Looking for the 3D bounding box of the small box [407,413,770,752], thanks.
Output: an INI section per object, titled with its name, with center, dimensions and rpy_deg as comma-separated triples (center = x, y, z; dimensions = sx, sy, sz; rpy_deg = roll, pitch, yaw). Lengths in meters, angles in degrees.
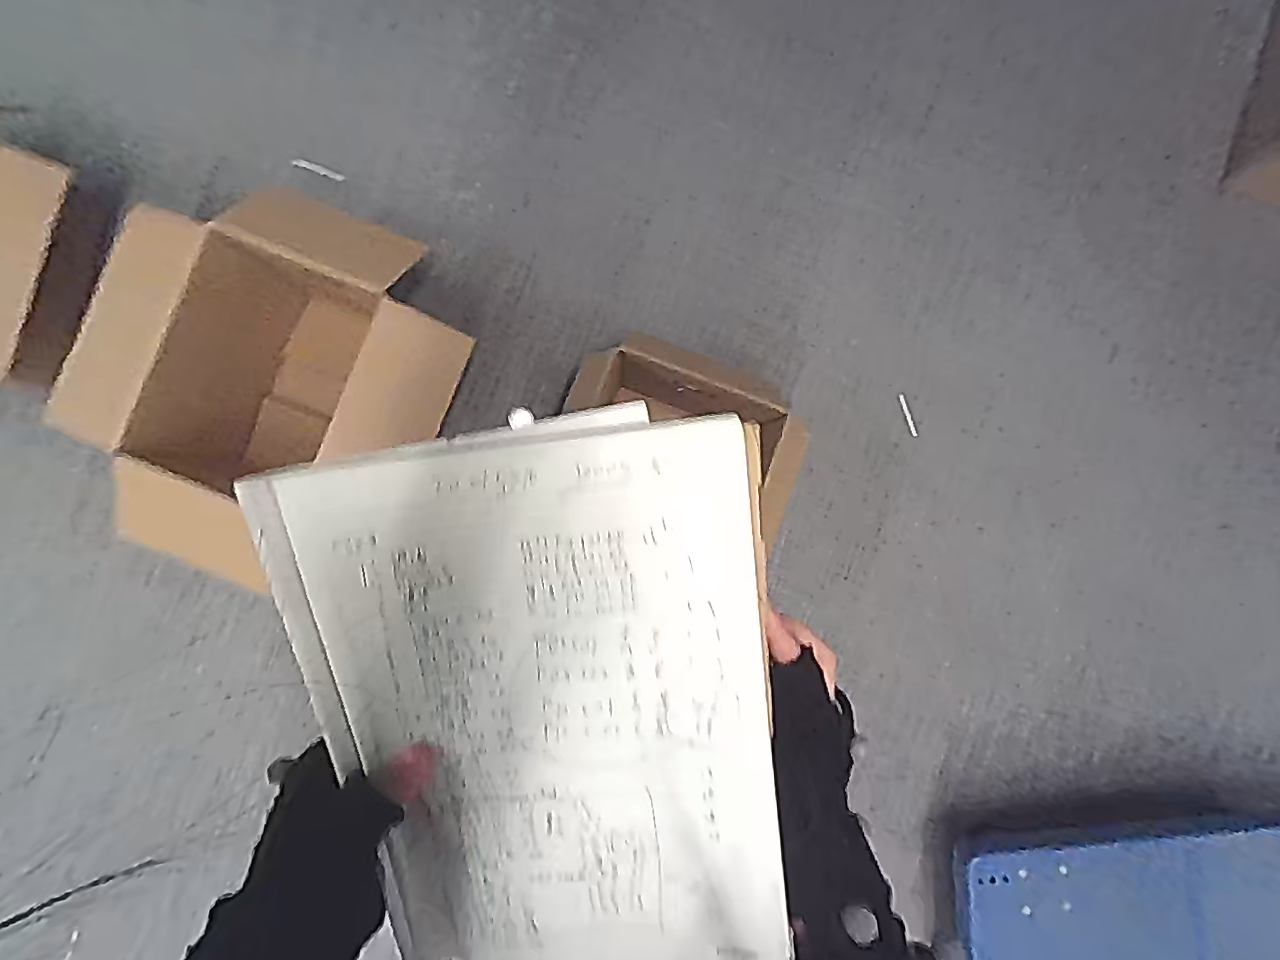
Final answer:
[small box]
center = -0.024, 0.047, 0.345
dimensions = 0.179, 0.176, 0.168
rpy_deg = -2, 94, -1
